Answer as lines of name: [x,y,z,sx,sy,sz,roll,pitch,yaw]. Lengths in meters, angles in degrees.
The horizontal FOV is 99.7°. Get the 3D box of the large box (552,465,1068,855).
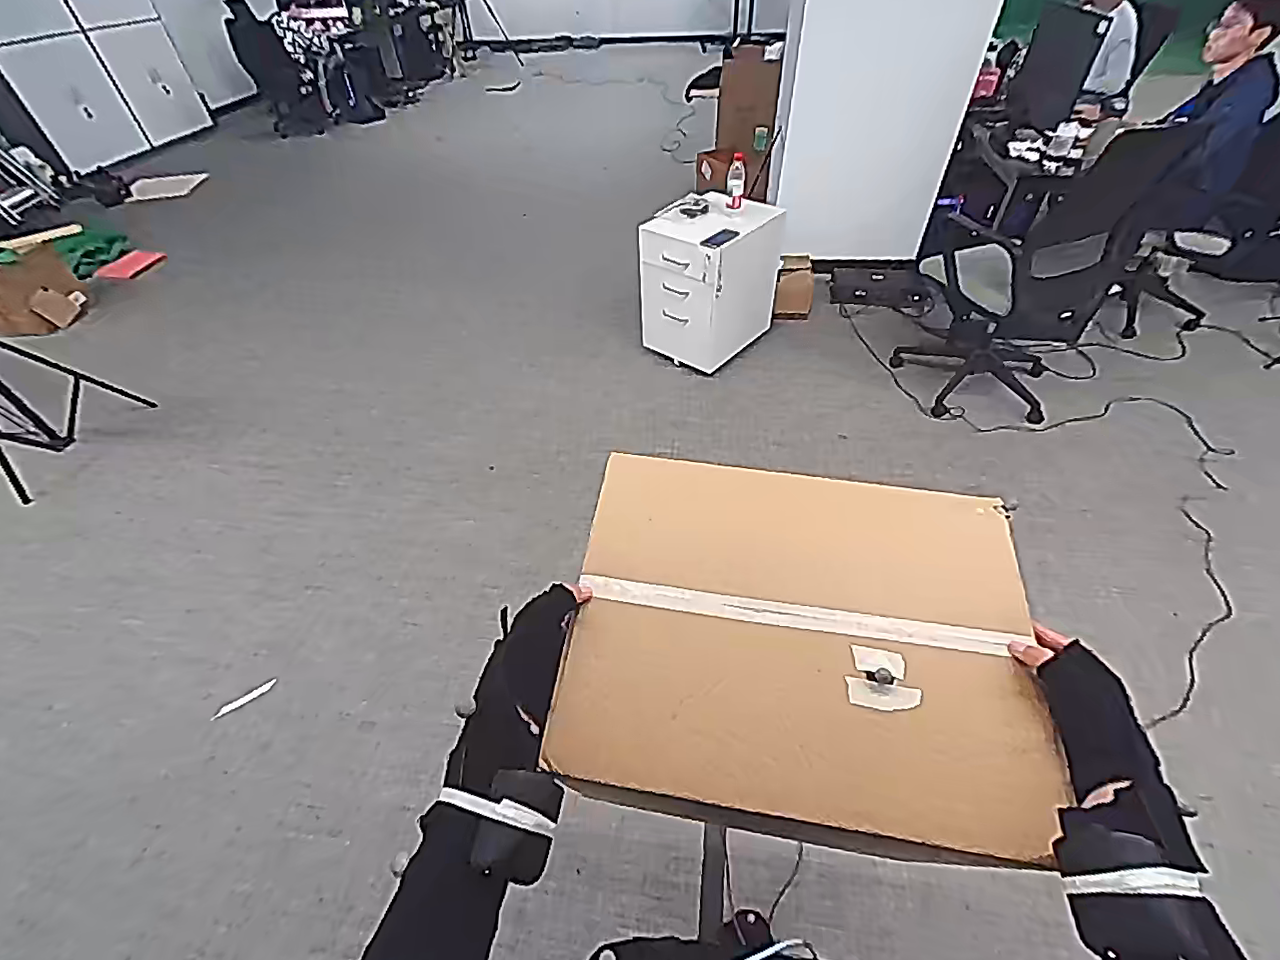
large box: [0.144,0.211,0.621,0.408,0.320,0.320,7,58,5]
